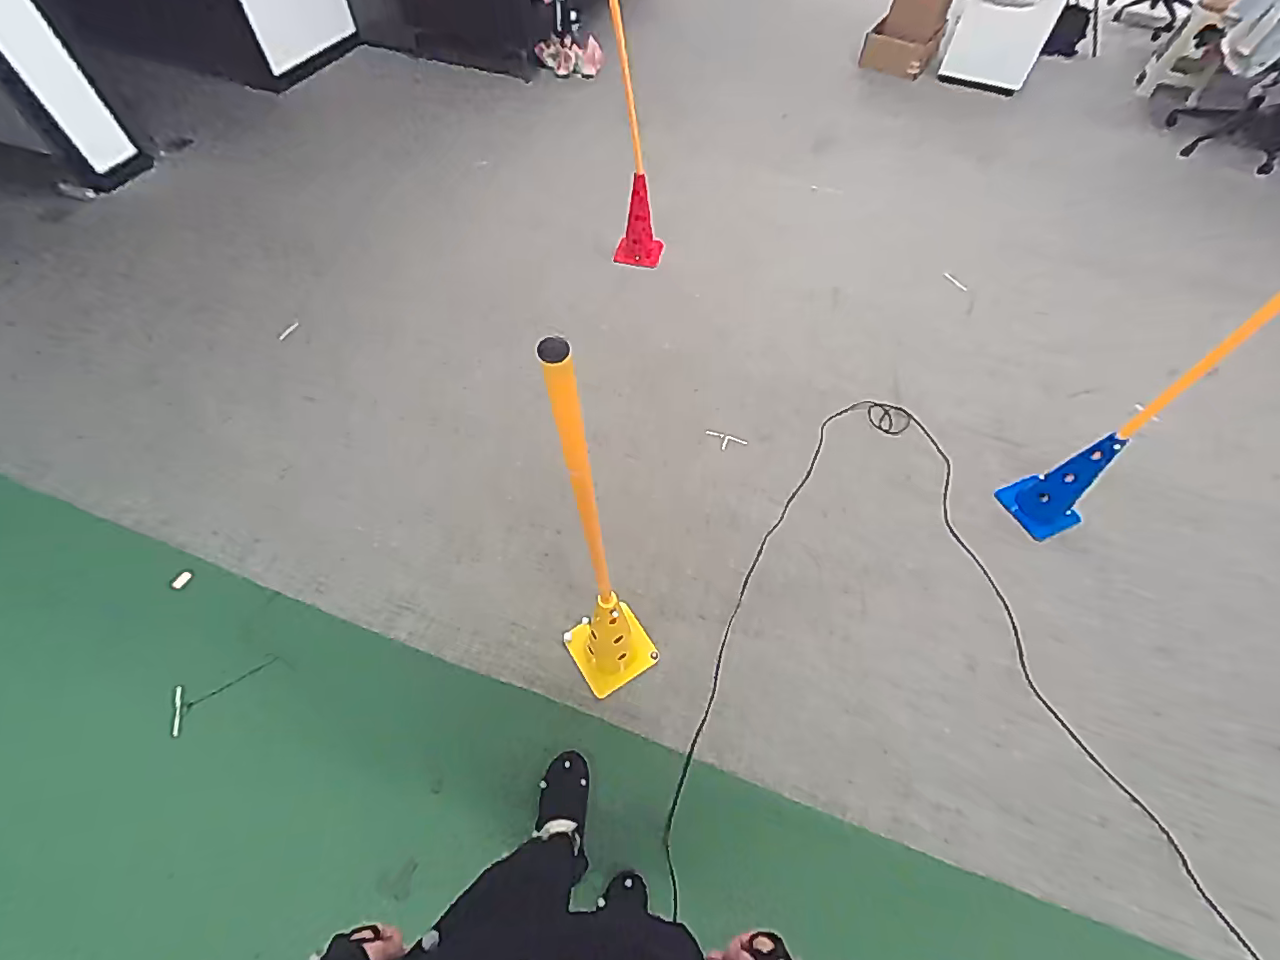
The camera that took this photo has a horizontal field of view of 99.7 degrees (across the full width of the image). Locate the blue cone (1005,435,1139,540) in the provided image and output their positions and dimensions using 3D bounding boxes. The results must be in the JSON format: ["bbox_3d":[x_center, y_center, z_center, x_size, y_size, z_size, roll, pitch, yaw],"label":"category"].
[{"bbox_3d":[1.293,-0.006,1.590,0.193,0.380,0.192,-19,58,-17],"label":"blue cone"}]
